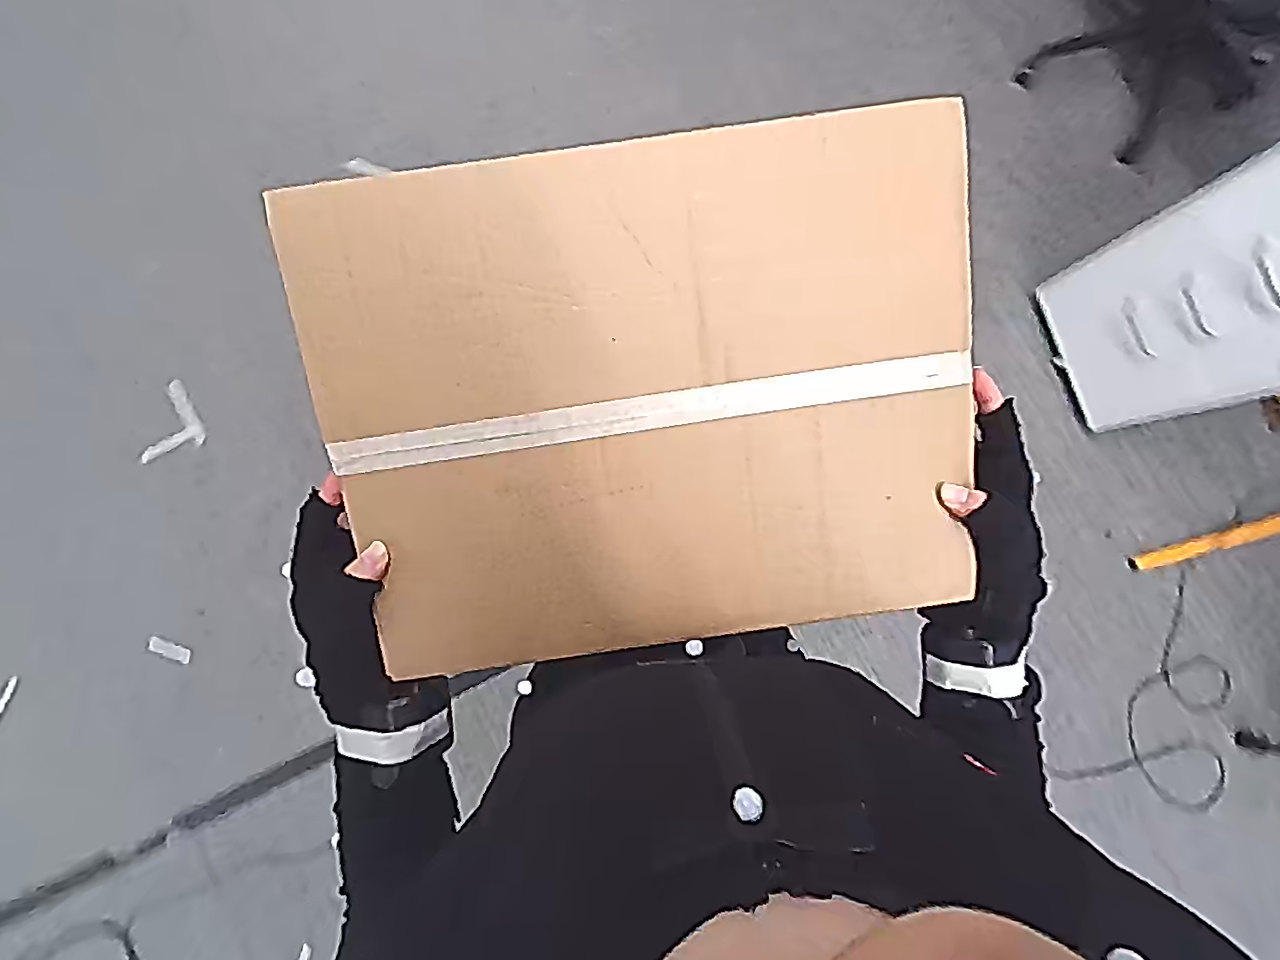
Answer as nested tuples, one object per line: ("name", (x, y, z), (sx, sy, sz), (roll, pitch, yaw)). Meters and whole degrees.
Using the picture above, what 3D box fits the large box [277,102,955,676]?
("large box", (-0.006, -0.071, 0.497), (0.408, 0.320, 0.320), (-10, 102, 0))
